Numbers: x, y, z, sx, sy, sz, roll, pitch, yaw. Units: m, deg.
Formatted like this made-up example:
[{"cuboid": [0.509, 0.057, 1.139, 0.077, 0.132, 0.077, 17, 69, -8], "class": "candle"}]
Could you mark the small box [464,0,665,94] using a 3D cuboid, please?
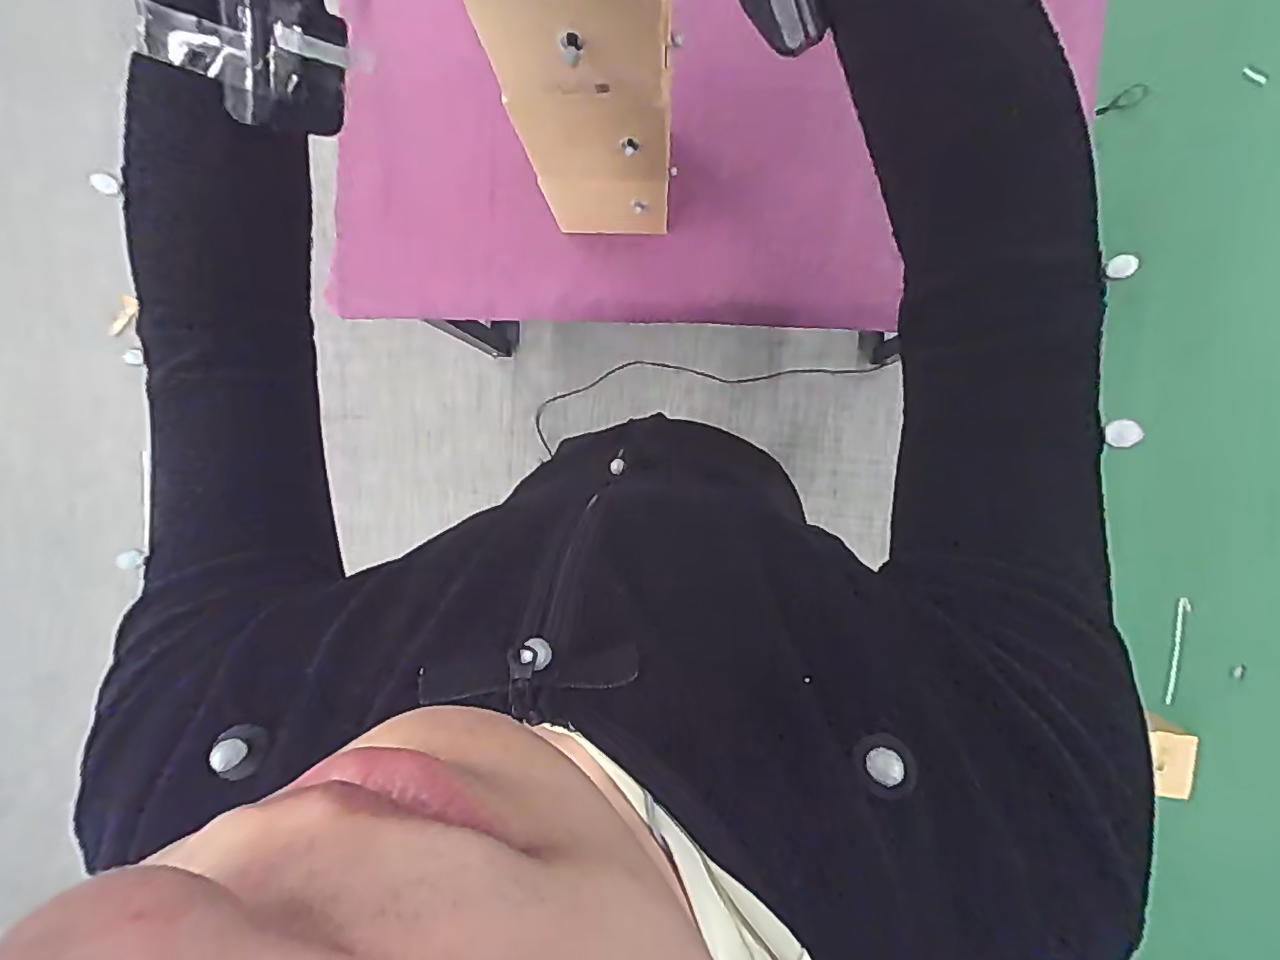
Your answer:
[{"cuboid": [-0.061, -0.479, 0.478, 0.168, 0.176, 0.179, 1, 93, 2], "class": "small box"}]

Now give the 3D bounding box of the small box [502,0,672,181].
[{"cuboid": [-0.052, -0.479, 0.641, 0.179, 0.176, 0.168, 2, 92, 3], "class": "small box"}]

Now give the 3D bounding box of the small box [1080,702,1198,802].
[{"cuboid": [1.372, 0.749, 1.500, 0.168, 0.176, 0.179, 6, 94, 3], "class": "small box"}]
